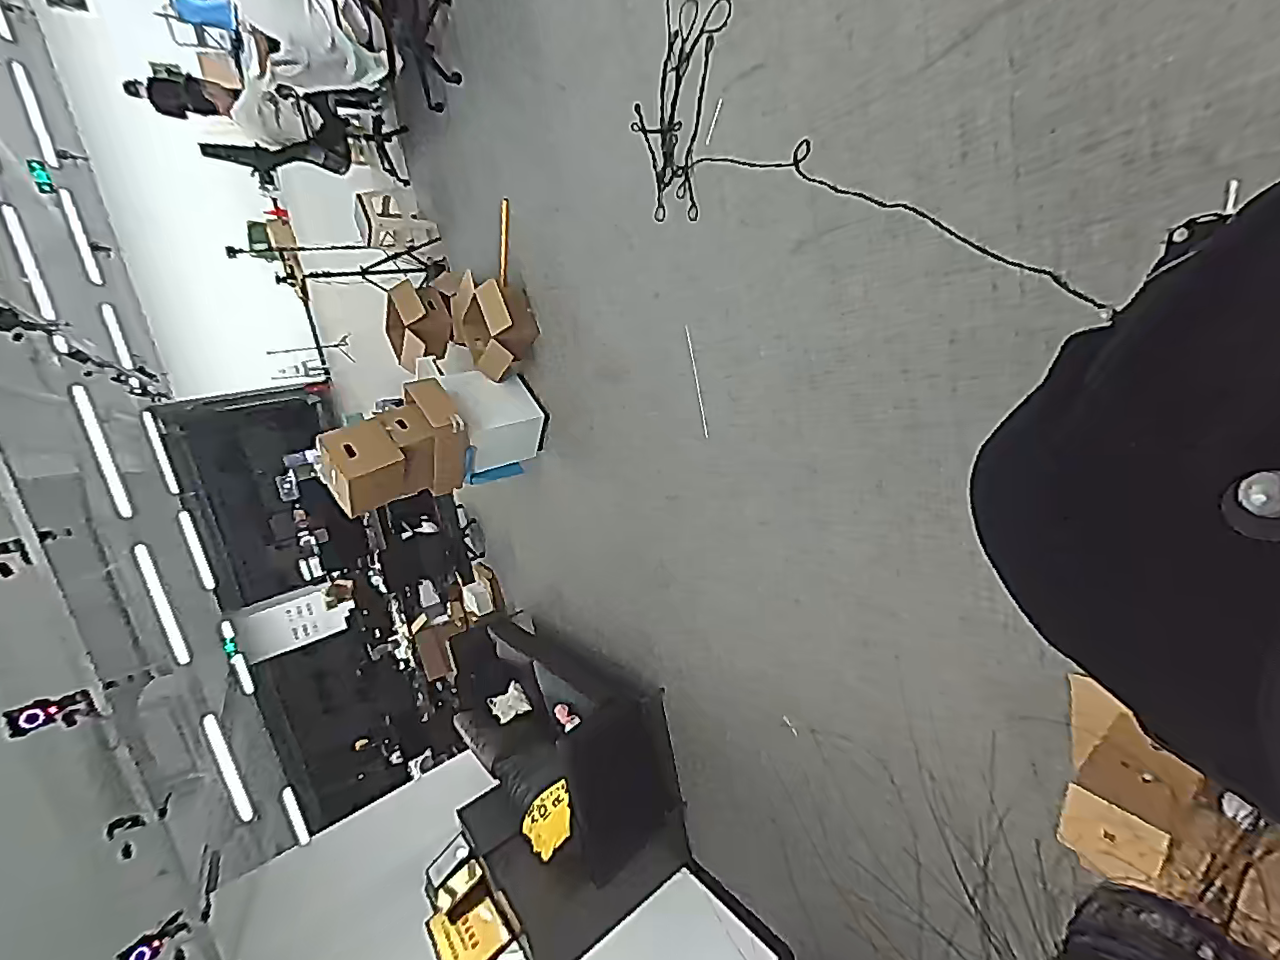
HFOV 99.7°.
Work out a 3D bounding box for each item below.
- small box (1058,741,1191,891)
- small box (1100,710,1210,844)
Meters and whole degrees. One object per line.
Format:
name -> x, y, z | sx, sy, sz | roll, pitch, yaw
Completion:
small box -> 1.045, 0.714, 1.168 | 0.168, 0.176, 0.179 | 20, 121, 50
small box -> 1.178, 0.675, 1.253 | 0.168, 0.176, 0.179 | 17, 119, 52
